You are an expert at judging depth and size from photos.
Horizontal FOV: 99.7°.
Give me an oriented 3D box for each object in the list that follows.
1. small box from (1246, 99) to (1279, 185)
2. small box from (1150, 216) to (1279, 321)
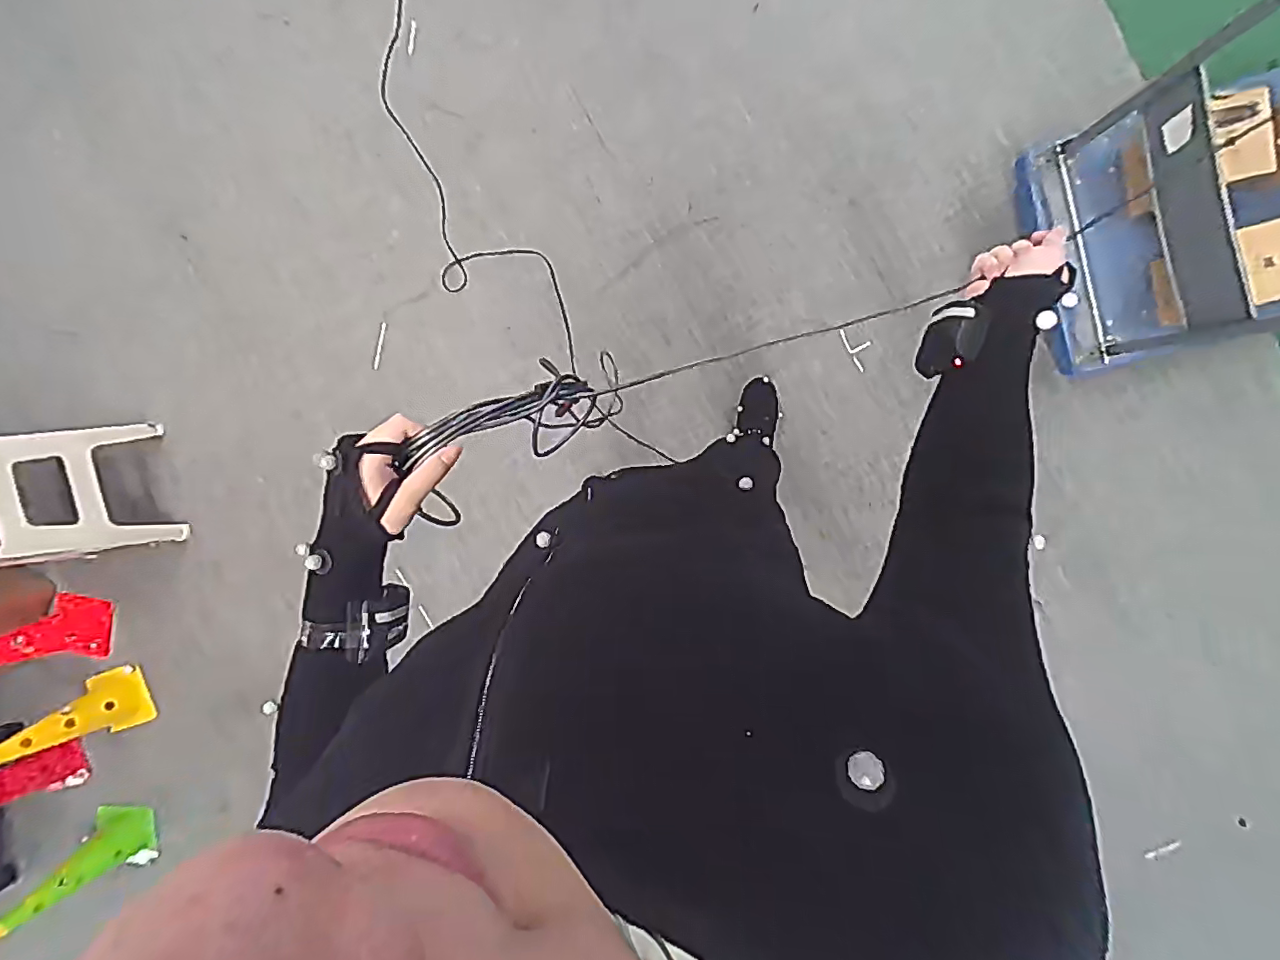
[{"bbox_3d":[1.503,-0.785,1.184,0.179,0.176,0.168,-19,94,6],"label":"small box"},{"bbox_3d":[1.330,-0.476,1.226,0.179,0.176,0.168,-15,94,6],"label":"small box"}]
